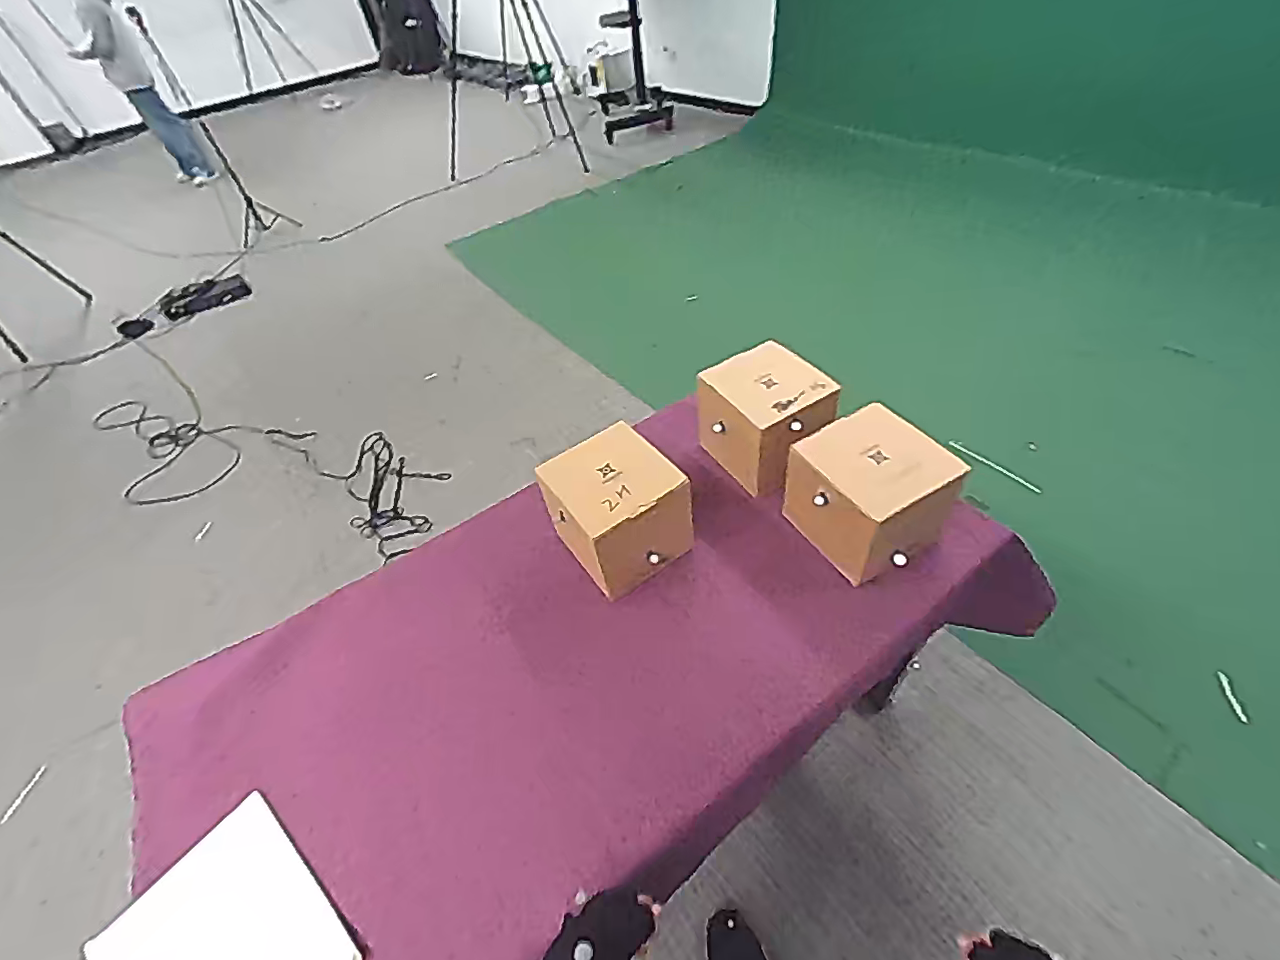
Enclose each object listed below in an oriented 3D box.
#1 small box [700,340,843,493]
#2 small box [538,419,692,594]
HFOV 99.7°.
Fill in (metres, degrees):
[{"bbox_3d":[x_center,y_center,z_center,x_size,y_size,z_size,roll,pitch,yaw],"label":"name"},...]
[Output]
[{"bbox_3d":[0.220,-0.109,0.944,0.168,0.176,0.179,-27,50,-15],"label":"small box"},{"bbox_3d":[-0.035,0.043,0.844,0.168,0.176,0.179,-31,52,-18],"label":"small box"}]
